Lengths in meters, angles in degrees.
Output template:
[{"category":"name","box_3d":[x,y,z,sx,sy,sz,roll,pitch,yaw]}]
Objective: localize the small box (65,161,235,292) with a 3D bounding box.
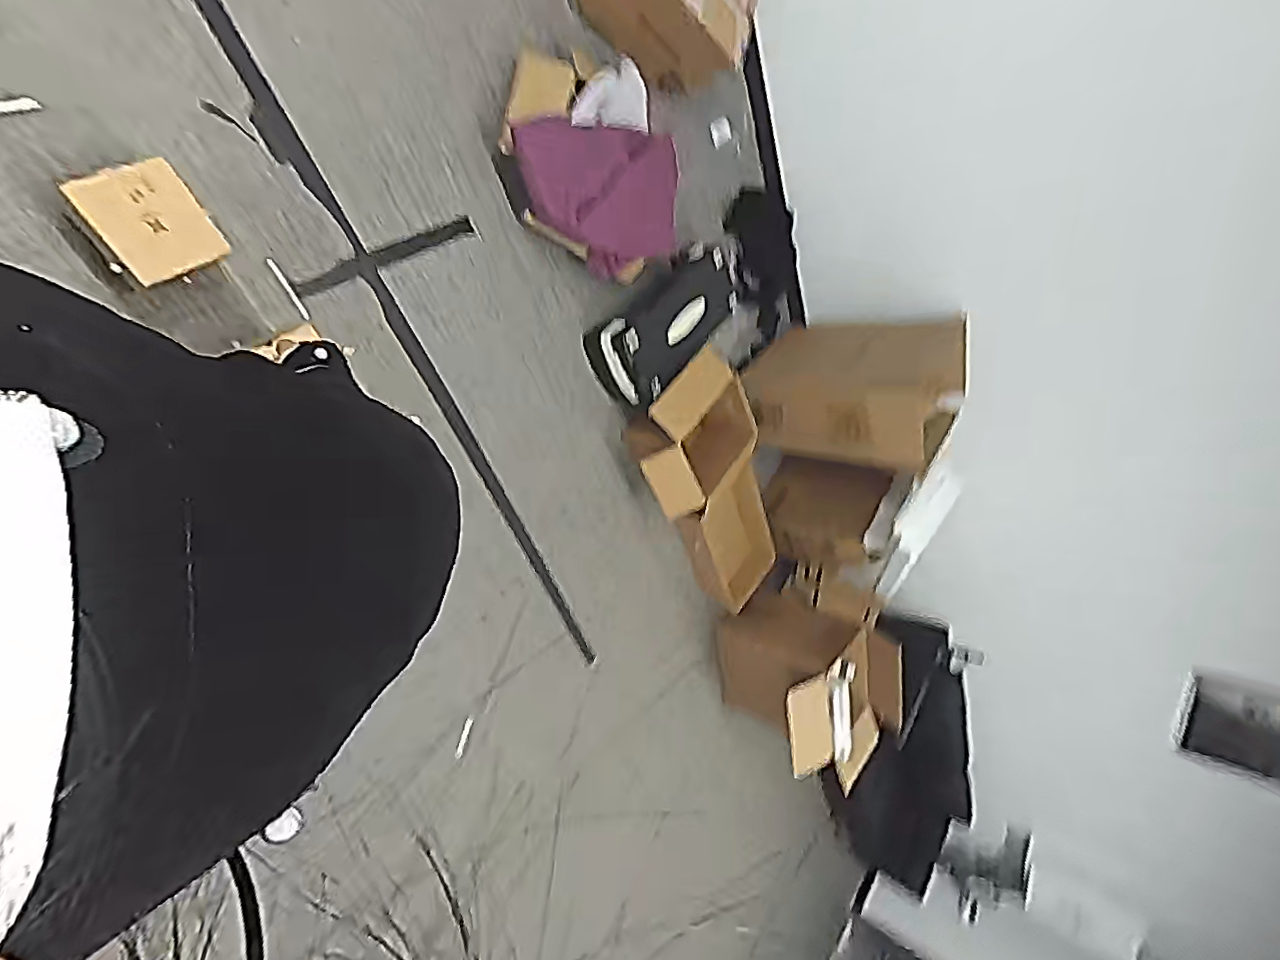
[{"category":"small box","box_3d":[-0.929,-0.474,1.033,0.168,0.176,0.179,-45,127,-30]}]

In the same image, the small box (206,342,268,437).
[{"category":"small box","box_3d":[-0.825,-0.212,1.203,0.179,0.176,0.168,-40,125,-32]}]

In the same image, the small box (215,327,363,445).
[{"category":"small box","box_3d":[-0.707,-0.191,1.087,0.168,0.176,0.179,-42,127,-32]}]
